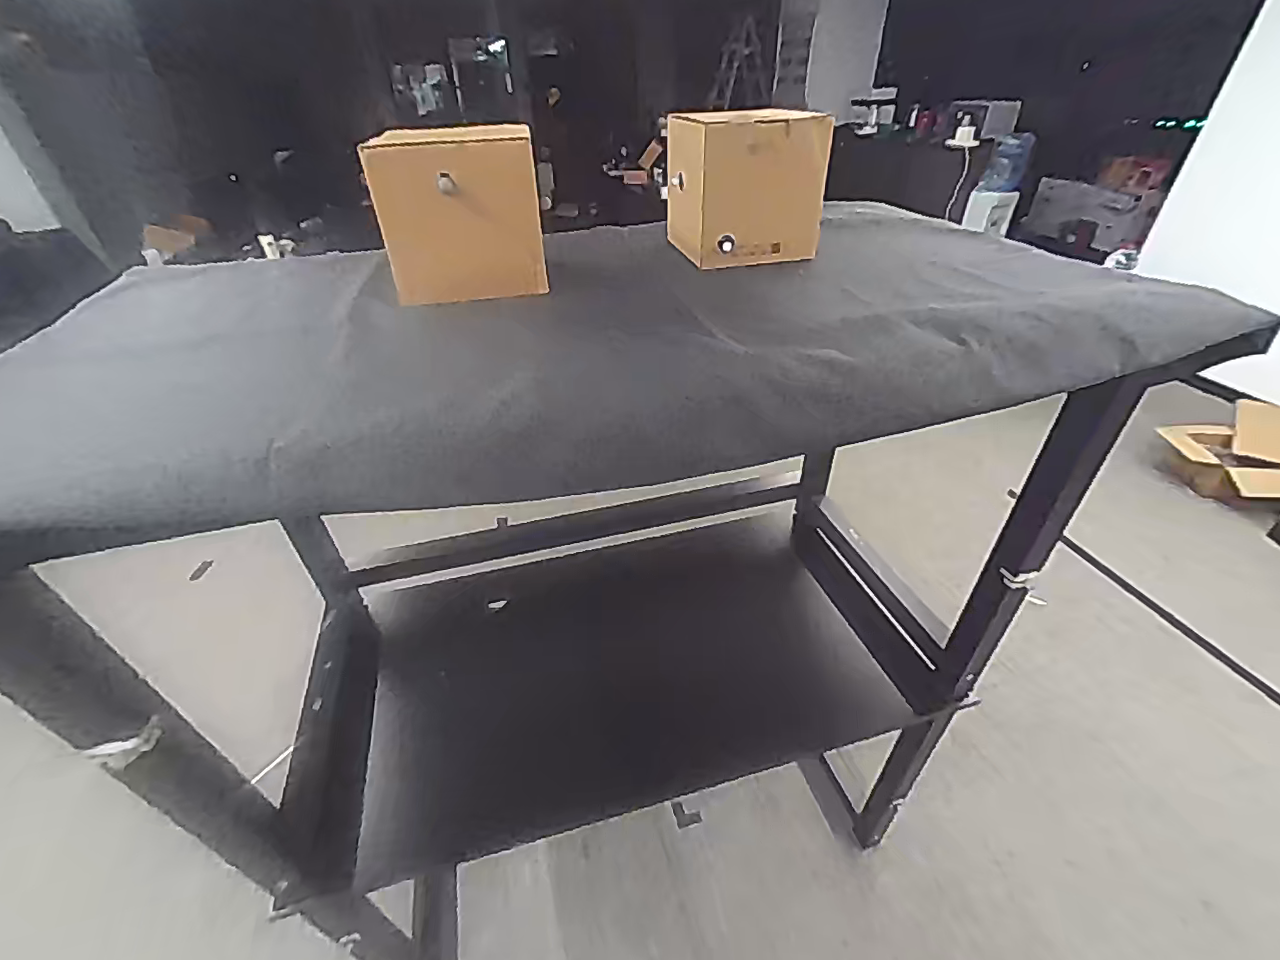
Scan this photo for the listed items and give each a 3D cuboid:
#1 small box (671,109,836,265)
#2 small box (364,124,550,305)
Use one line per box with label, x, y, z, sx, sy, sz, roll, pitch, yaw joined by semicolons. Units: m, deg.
small box;0.144;-0.404;0.749;0.168;0.176;0.179;-8;37;-9
small box;-0.205;-0.328;0.666;0.179;0.176;0.168;-8;38;-7
